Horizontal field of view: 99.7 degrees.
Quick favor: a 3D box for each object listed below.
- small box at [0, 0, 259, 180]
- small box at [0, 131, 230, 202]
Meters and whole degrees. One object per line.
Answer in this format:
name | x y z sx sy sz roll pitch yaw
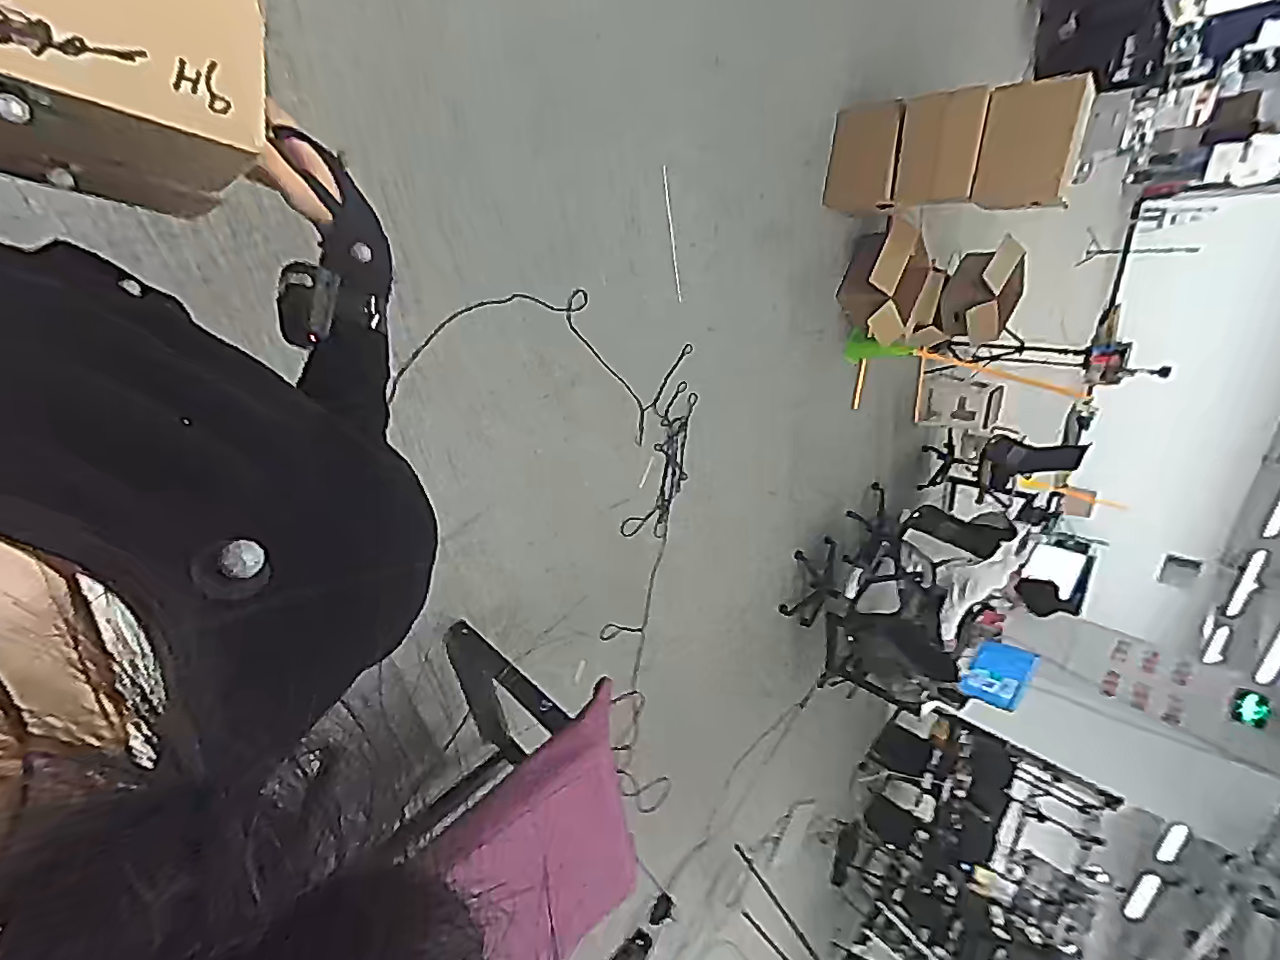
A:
small box | -0.325 -0.293 0.297 0.168 0.176 0.179 -4 106 -44
small box | -0.435 -0.328 0.413 0.179 0.176 0.168 -2 105 -44
